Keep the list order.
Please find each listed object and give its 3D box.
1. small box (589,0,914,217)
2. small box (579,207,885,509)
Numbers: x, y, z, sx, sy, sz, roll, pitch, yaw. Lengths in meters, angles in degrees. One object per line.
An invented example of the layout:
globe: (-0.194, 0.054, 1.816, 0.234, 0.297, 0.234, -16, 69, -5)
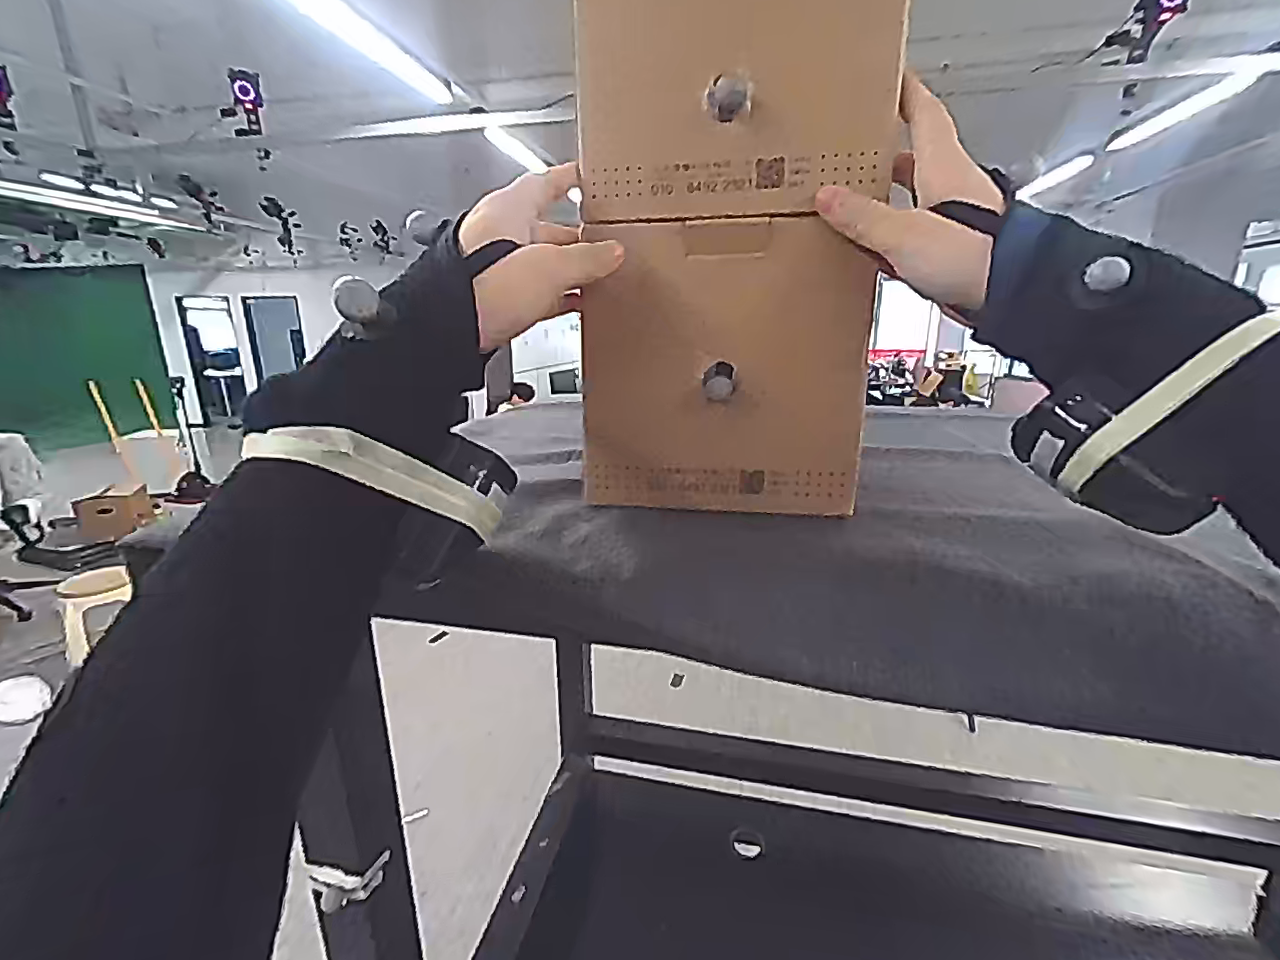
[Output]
small box: (0.063, -0.244, 0.349, 0.168, 0.176, 0.179, 1, 14, 9)
small box: (0.059, -0.083, 0.387, 0.168, 0.176, 0.179, 3, 15, 8)
